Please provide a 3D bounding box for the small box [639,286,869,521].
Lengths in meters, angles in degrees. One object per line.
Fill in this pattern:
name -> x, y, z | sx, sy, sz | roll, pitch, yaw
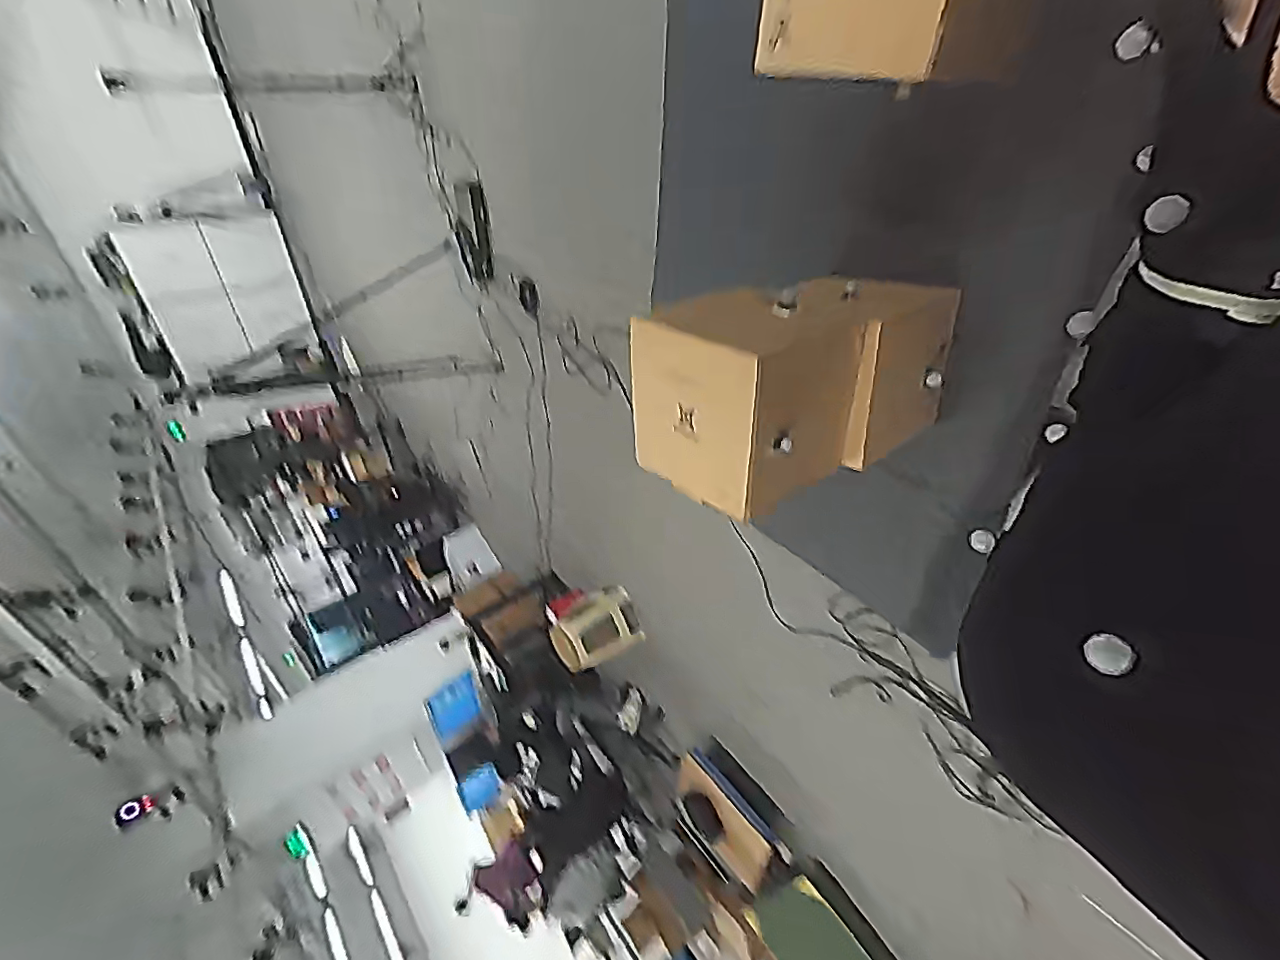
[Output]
small box -> 0.117, -0.092, 0.574 | 0.168, 0.176, 0.179 | 30, 135, 41

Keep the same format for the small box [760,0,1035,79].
small box -> 0.232, -0.447, 0.457 | 0.179, 0.176, 0.168 | 36, 140, 37

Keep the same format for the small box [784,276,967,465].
small box -> 0.252, -0.143, 0.651 | 0.179, 0.176, 0.168 | 27, 134, 44
